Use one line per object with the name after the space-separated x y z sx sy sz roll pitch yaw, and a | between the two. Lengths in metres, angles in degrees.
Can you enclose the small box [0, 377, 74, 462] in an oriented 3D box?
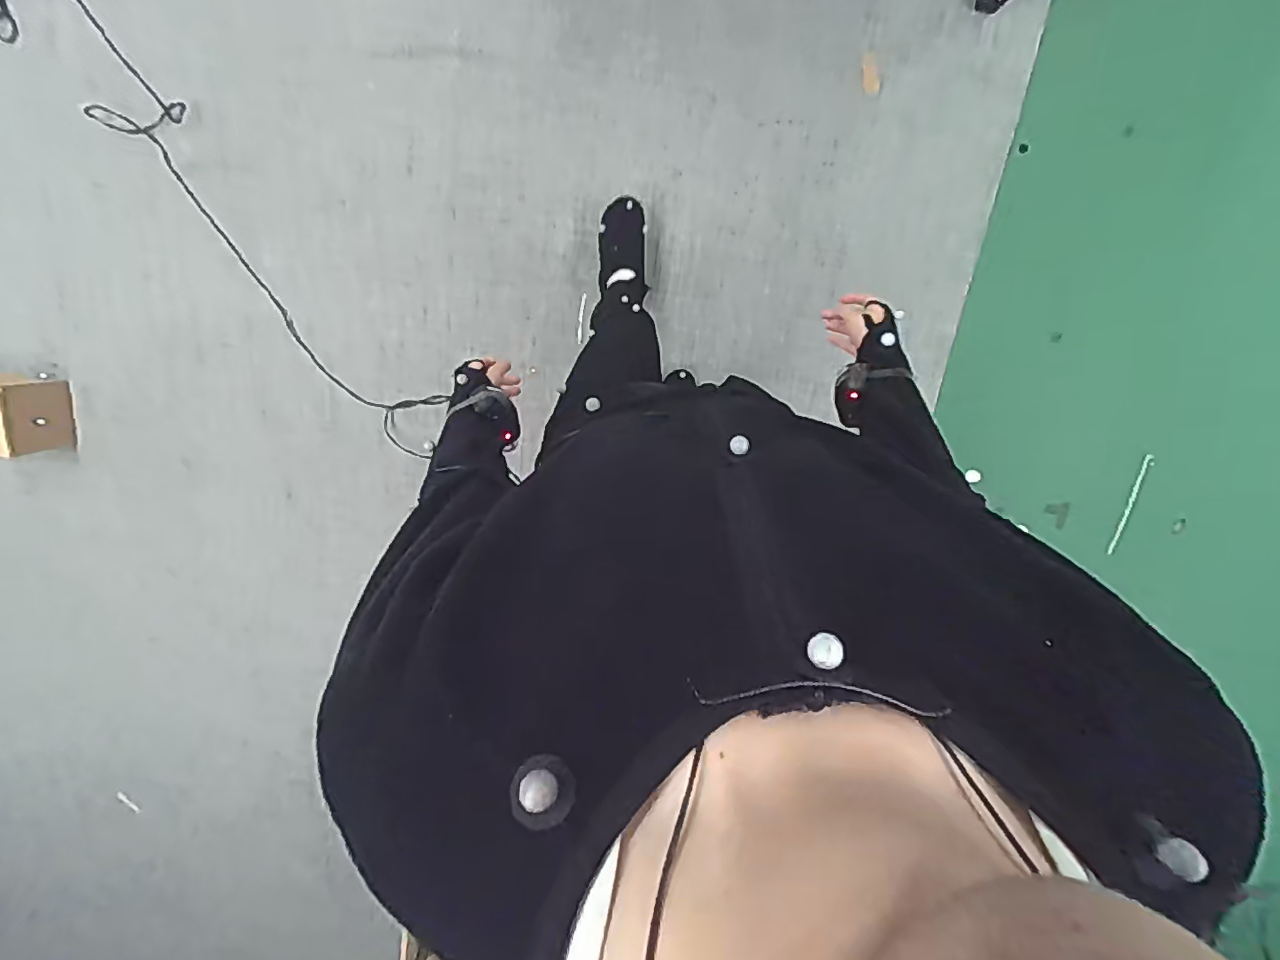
-1.569 -0.155 1.333 0.168 0.176 0.179 6 105 -3 | small box
